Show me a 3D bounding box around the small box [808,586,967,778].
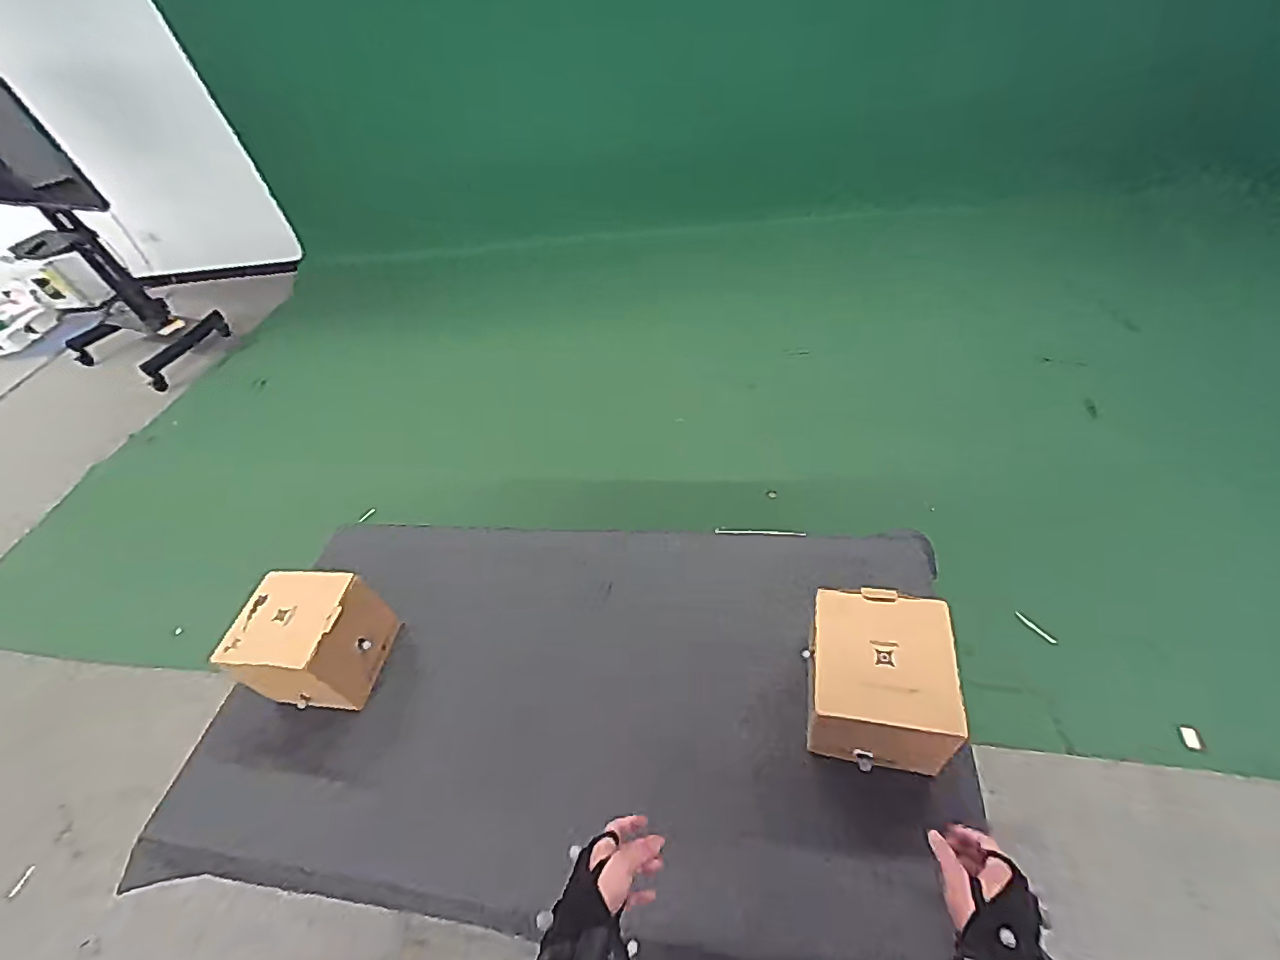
[{"bbox_3d":[0.318,0.269,0.725,0.168,0.176,0.179,4,49,18],"label":"small box"}]

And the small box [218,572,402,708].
[{"bbox_3d":[-0.547,0.277,0.928,0.179,0.176,0.168,1,48,11],"label":"small box"}]
